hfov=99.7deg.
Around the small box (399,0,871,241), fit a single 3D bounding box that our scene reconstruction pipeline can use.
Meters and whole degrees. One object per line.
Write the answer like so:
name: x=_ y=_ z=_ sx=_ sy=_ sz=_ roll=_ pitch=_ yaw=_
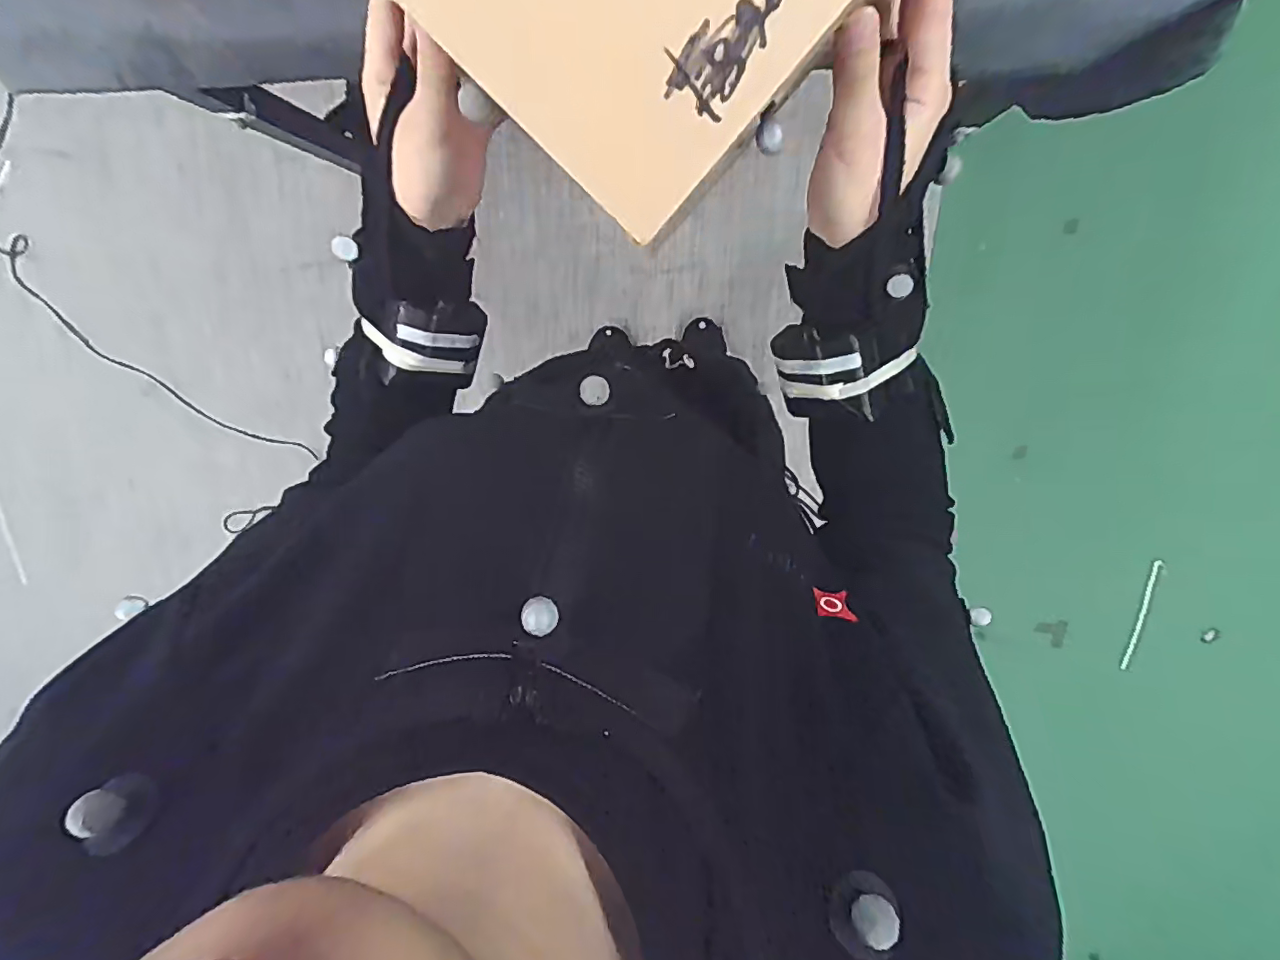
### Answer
small box: x=-0.003 y=-0.230 z=0.242 sx=0.179 sy=0.176 sz=0.168 roll=41 pitch=107 yaw=-13
